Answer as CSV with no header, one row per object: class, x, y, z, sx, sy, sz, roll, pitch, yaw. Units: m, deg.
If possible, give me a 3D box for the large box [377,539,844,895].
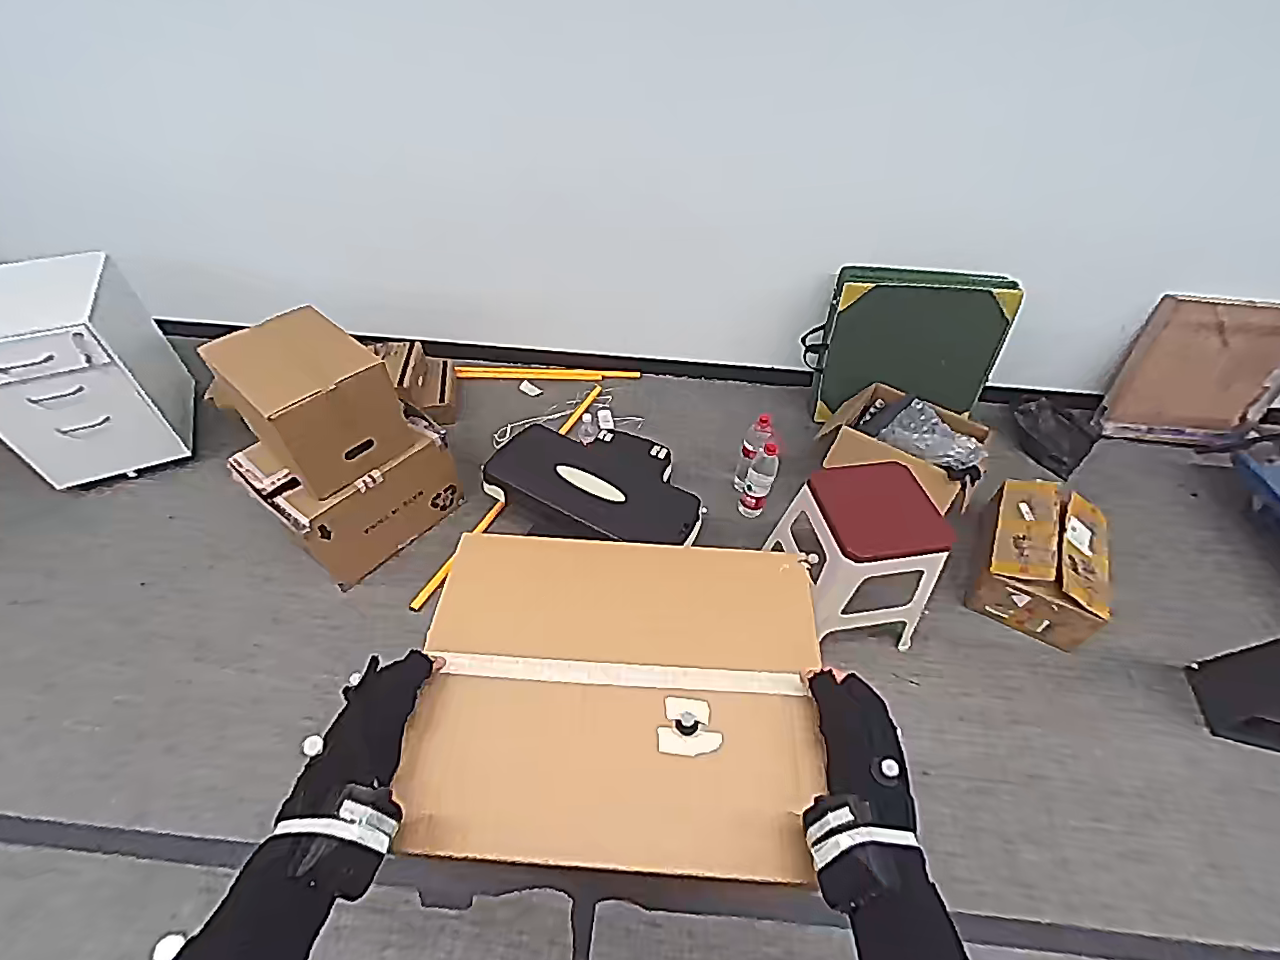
large box,-0.023,0.293,0.660,0.408,0.320,0.320,4,51,2
